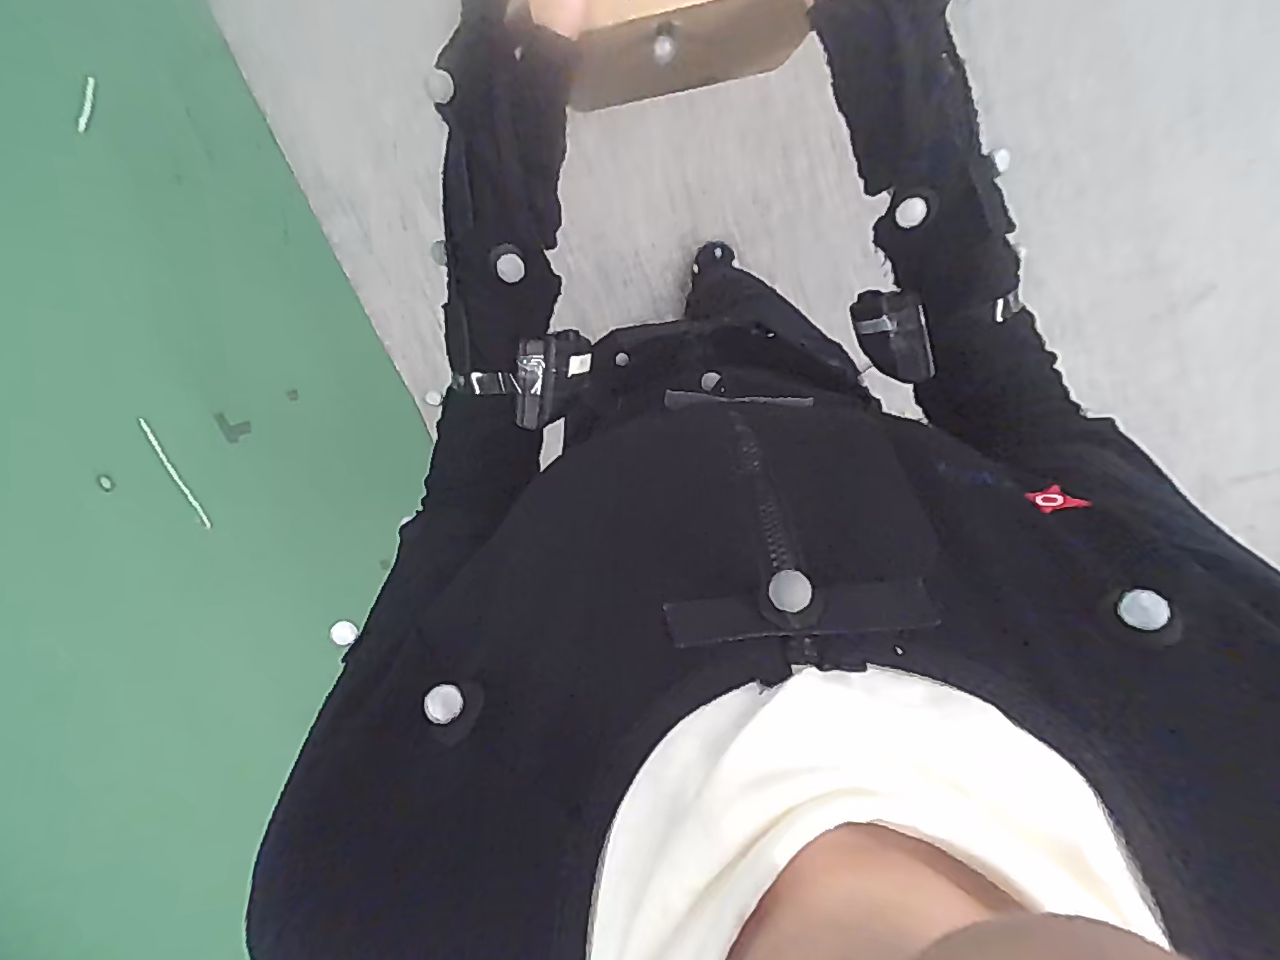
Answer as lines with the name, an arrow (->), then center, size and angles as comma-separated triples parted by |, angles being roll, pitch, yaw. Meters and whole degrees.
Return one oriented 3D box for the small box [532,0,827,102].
small box -> 0.014, -0.351, 0.308 | 0.168, 0.176, 0.179 | -9, 114, 5
